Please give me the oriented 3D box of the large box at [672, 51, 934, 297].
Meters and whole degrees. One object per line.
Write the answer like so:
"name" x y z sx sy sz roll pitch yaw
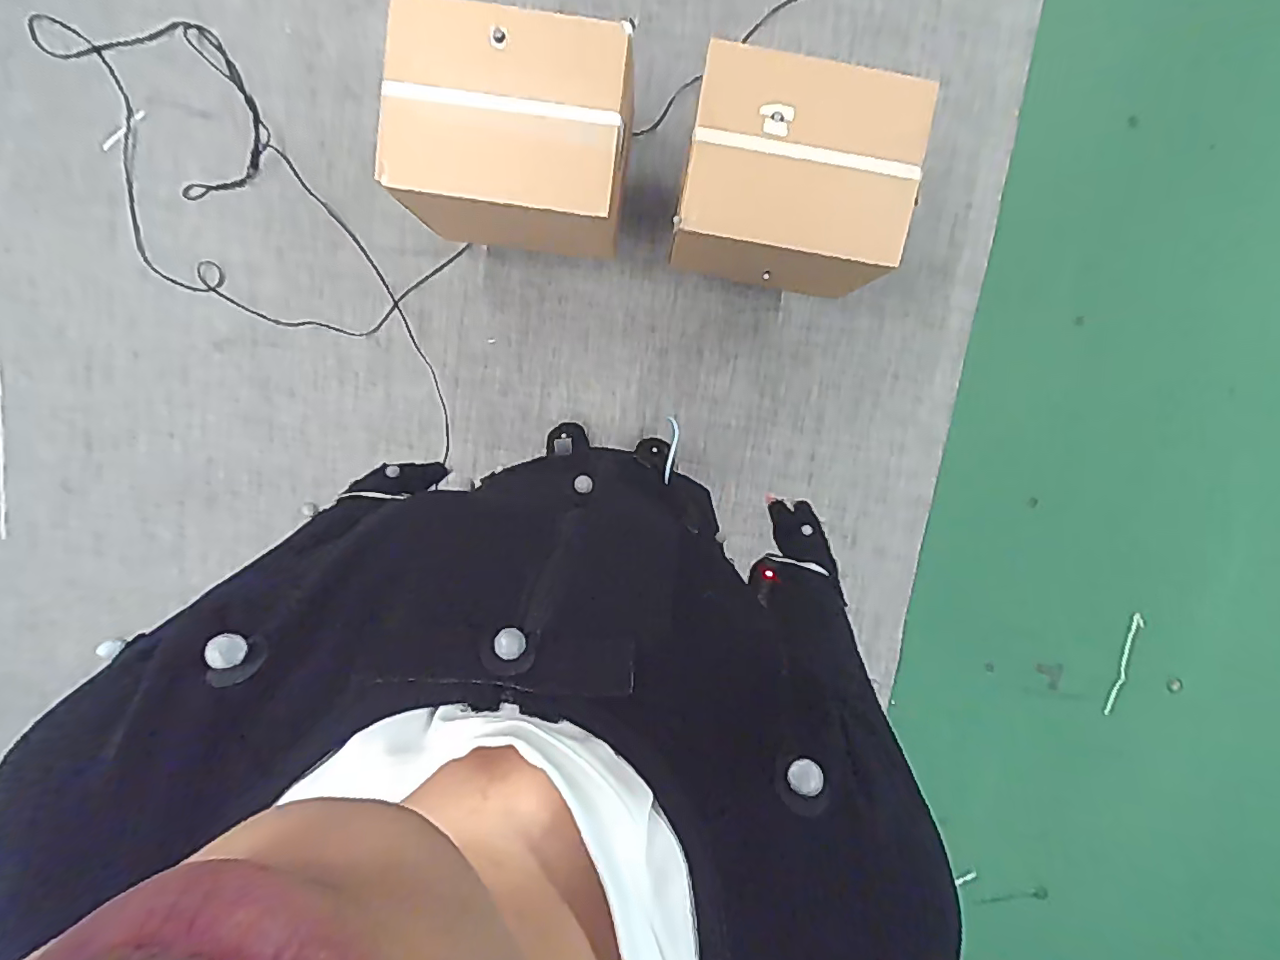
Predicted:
"large box" 0.295 -0.584 1.103 0.408 0.320 0.320 10 97 -1
